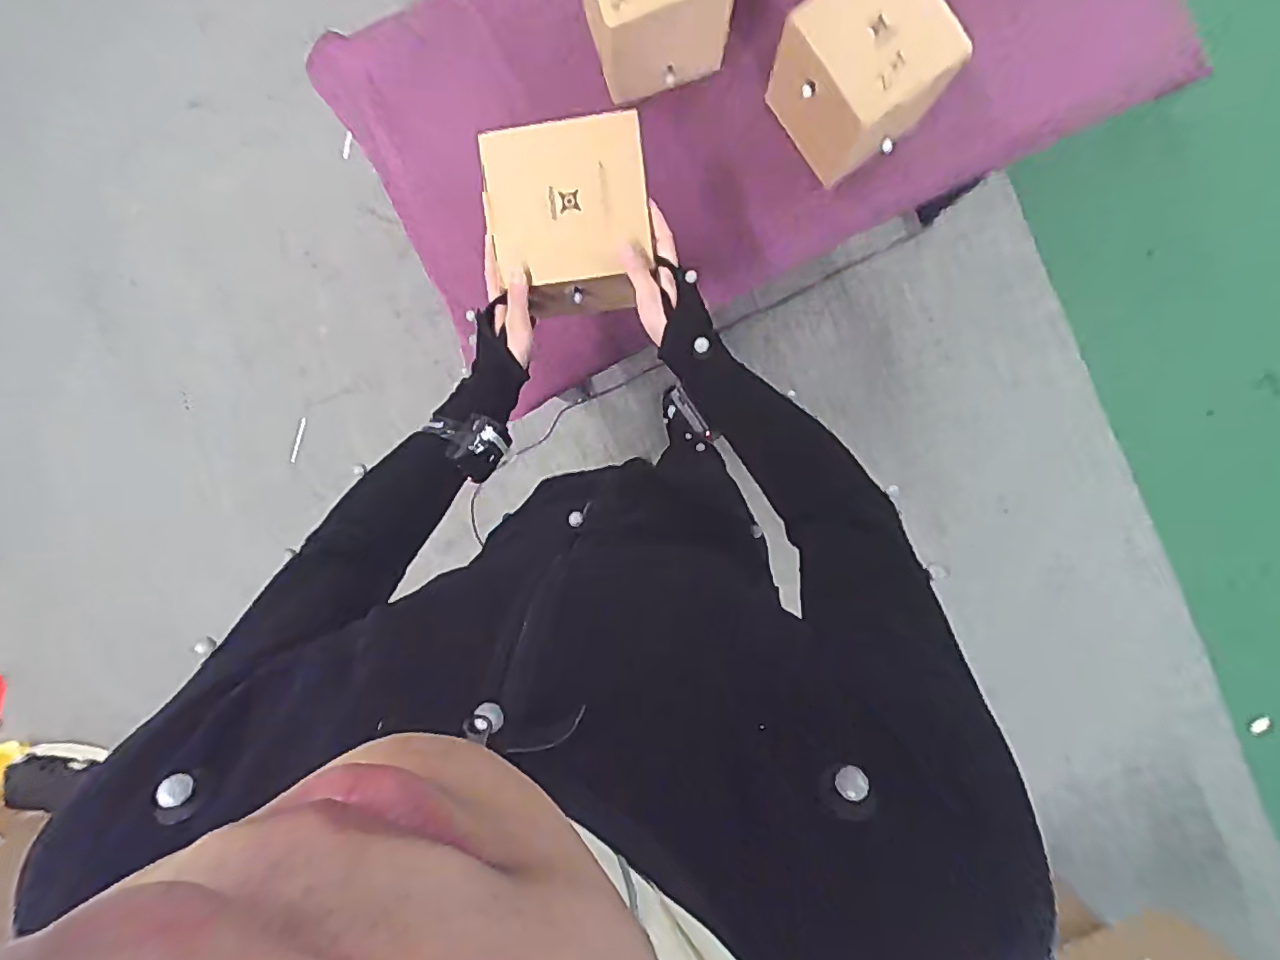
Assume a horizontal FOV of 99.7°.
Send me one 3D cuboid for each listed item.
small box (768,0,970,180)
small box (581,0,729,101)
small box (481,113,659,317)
[{"bbox_3d":[0.304,-0.573,0.761,0.168,0.176,0.179,-35,92,4],"label":"small box"},{"bbox_3d":[0.011,-0.686,0.760,0.179,0.176,0.168,-18,93,2],"label":"small box"},{"bbox_3d":[-0.072,-0.303,0.656,0.179,0.176,0.168,-5,95,3],"label":"small box"}]
